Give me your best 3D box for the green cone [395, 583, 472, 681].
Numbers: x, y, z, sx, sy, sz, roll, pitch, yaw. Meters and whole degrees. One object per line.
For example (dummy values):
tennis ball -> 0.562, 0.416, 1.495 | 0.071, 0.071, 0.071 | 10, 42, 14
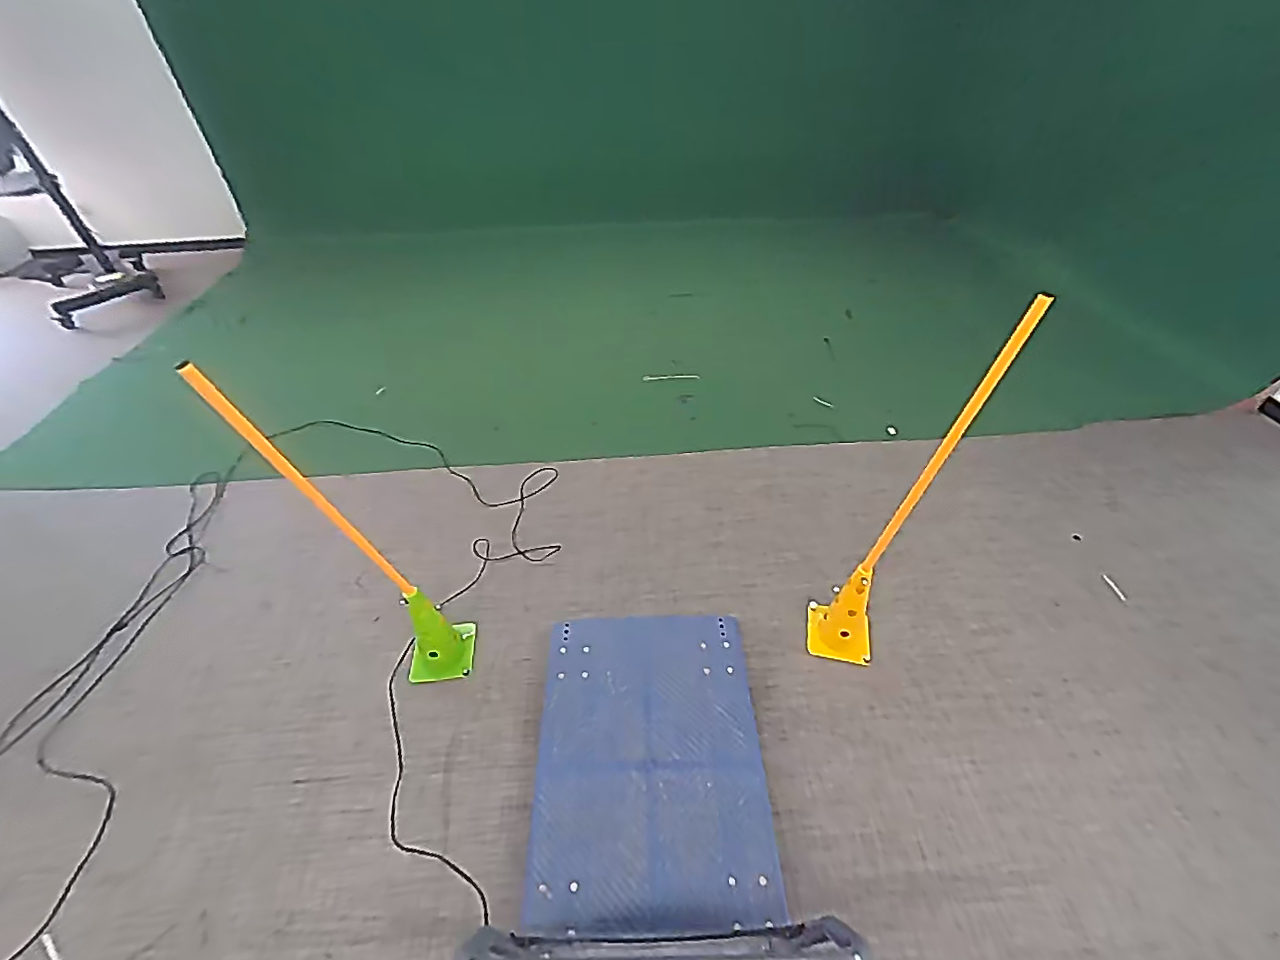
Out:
green cone -> -0.675, 0.439, 1.685 | 0.202, 0.368, 0.200 | -7, 43, -3
